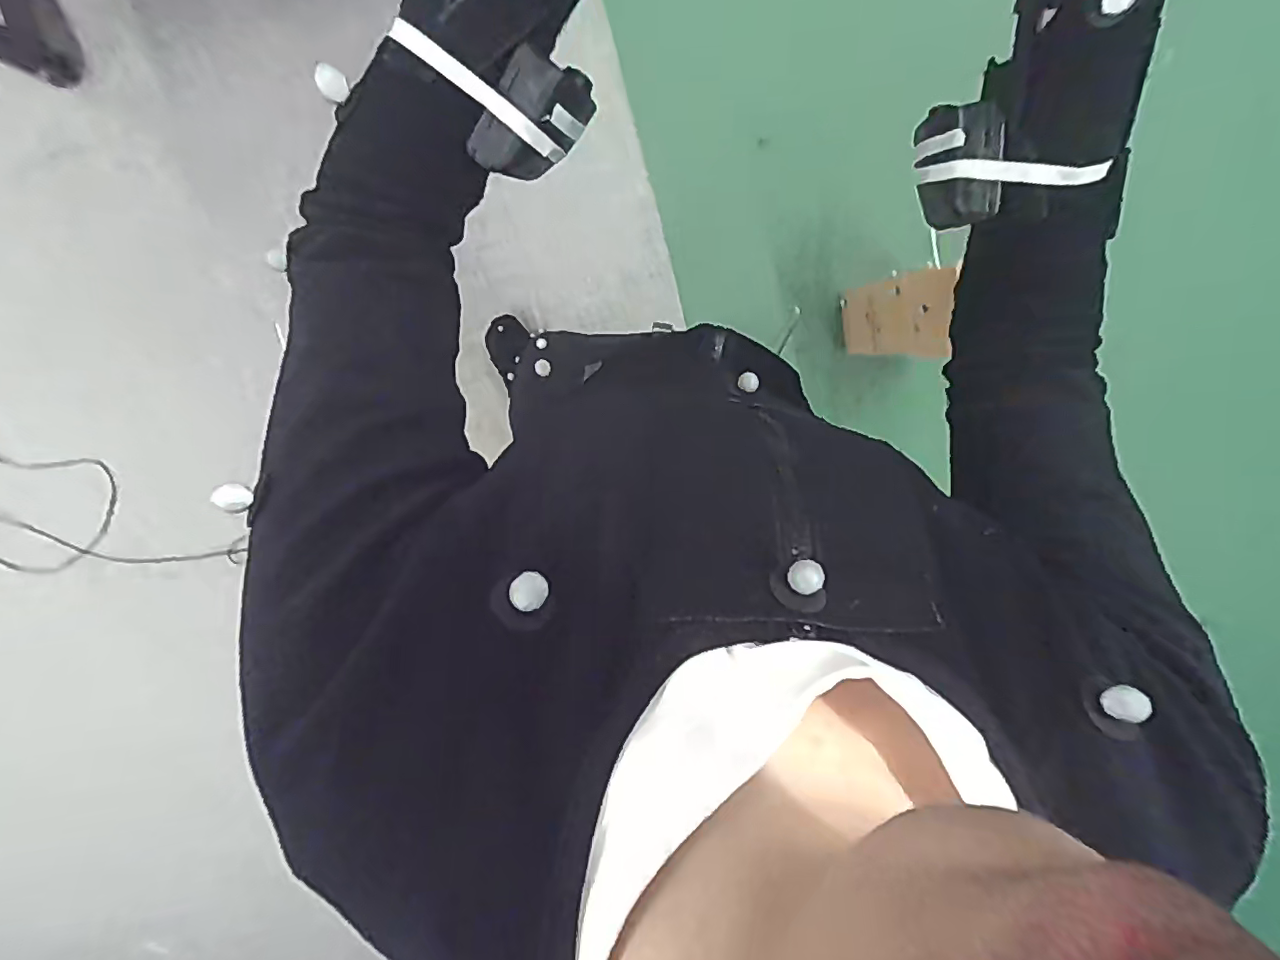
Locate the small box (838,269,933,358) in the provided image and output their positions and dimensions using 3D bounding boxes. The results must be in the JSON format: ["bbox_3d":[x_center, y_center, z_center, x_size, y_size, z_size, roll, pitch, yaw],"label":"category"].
[{"bbox_3d":[0.600,-0.400,1.323,0.179,0.176,0.168,-15,104,3],"label":"small box"}]

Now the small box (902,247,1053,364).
[{"bbox_3d":[0.620,-0.320,1.005,0.179,0.176,0.168,-14,105,0],"label":"small box"}]
